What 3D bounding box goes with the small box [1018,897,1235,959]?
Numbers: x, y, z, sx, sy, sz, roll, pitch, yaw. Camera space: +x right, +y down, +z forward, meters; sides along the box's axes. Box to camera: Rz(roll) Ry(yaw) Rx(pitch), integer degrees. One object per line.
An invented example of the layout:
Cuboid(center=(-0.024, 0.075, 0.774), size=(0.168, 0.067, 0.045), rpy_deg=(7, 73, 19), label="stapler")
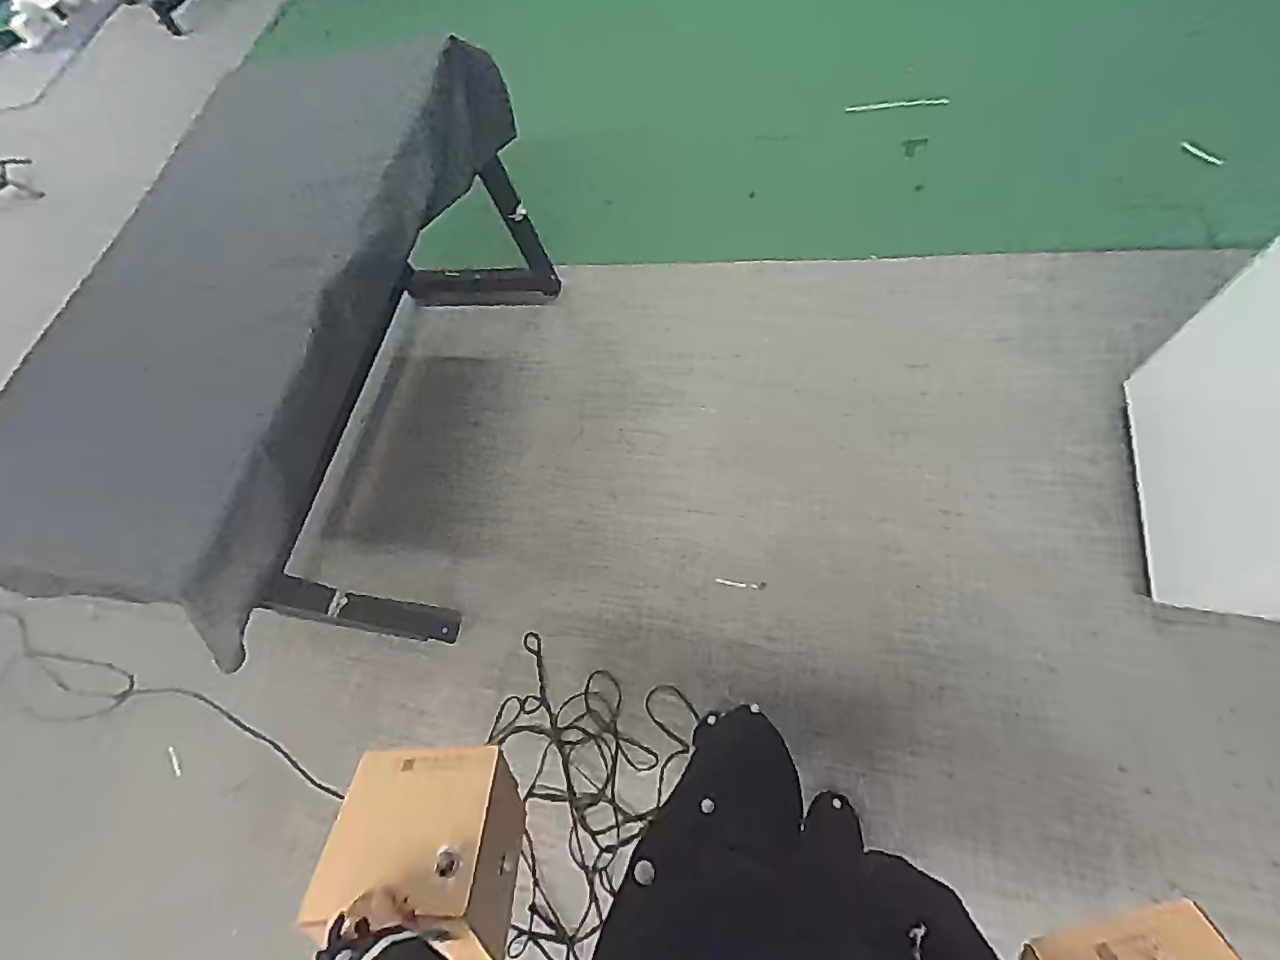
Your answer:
Cuboid(center=(0.498, 0.540, 0.519), size=(0.168, 0.179, 0.176), rpy_deg=(-18, 34, 2), label="small box")
